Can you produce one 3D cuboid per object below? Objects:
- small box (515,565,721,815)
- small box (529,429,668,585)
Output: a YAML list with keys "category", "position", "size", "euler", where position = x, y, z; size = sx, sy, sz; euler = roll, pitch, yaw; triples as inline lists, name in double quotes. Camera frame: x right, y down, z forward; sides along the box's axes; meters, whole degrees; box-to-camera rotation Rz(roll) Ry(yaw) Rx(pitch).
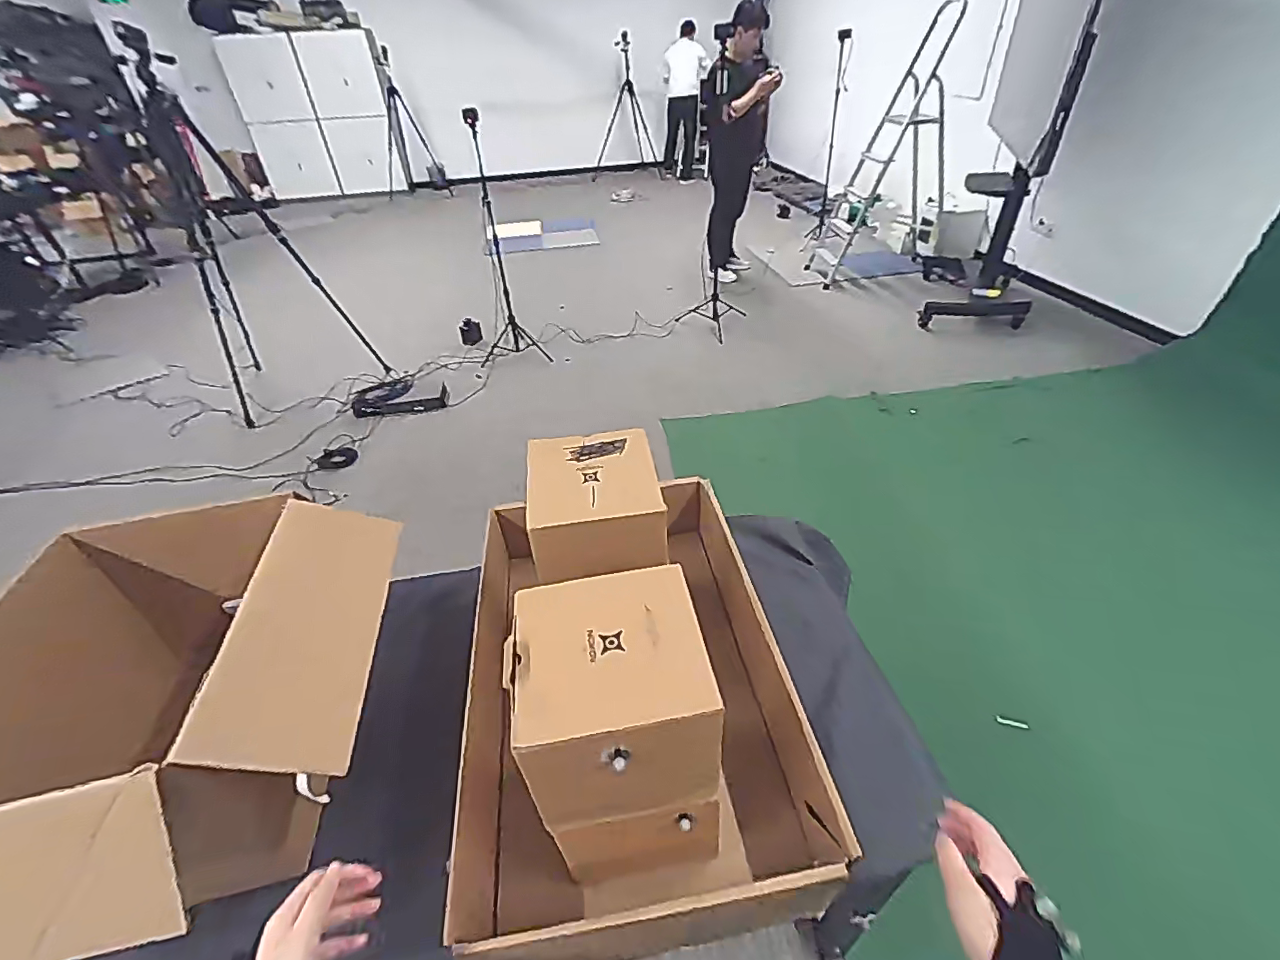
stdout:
- category: "small box"
  position: [-0.024, 0.215, 0.555]
  size: [0.179, 0.176, 0.168]
  euler: [-8, 40, -6]
- category: "small box"
  position: [-0.057, 0.052, 0.748]
  size: [0.168, 0.176, 0.179]
  euler: [-7, 42, -4]
